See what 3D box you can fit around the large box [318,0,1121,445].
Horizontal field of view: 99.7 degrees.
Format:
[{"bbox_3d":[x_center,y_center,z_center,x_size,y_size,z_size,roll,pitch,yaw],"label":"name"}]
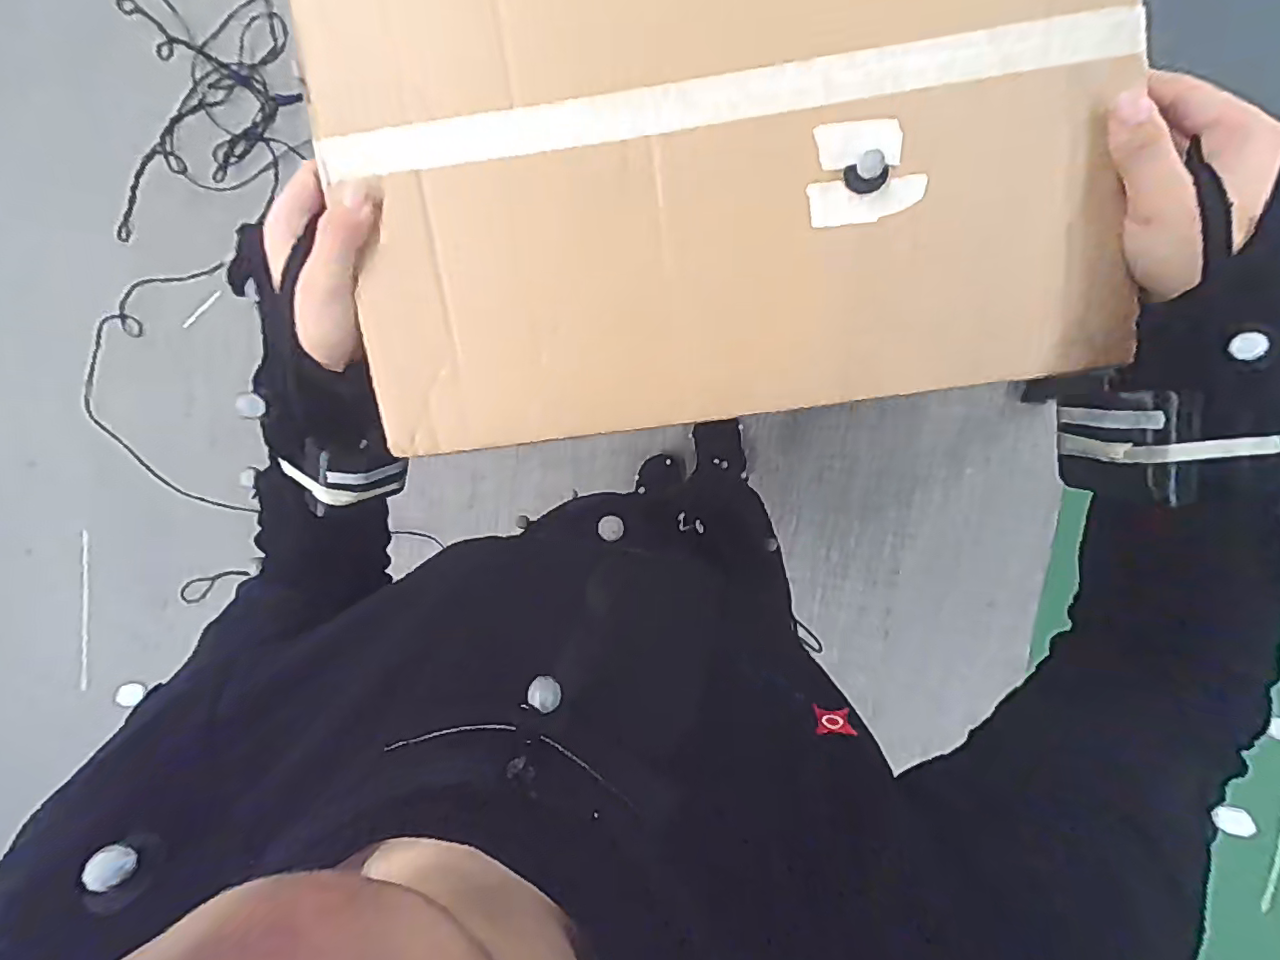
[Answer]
[{"bbox_3d":[0.044,-0.223,0.425,0.408,0.320,0.320,-8,101,1],"label":"large box"}]
